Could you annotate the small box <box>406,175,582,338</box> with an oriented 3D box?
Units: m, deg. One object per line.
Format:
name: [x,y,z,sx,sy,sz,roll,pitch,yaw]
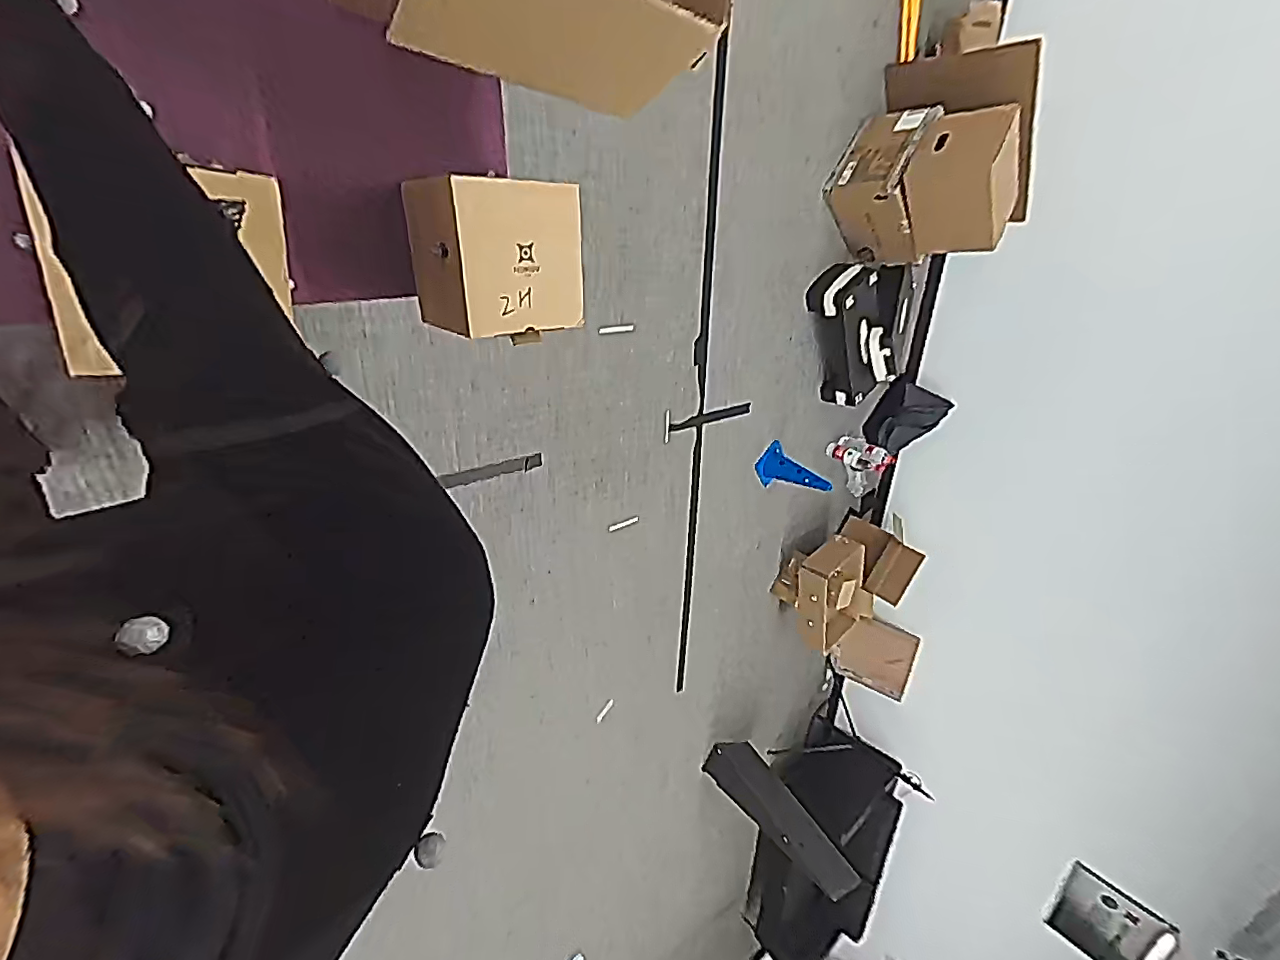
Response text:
small box: [-0.193,-0.294,0.717,0.168,0.176,0.179,-18,121,-35]

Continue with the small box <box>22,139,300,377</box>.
small box: [-0.450,-0.205,0.524,0.168,0.176,0.179,-11,118,-39]
